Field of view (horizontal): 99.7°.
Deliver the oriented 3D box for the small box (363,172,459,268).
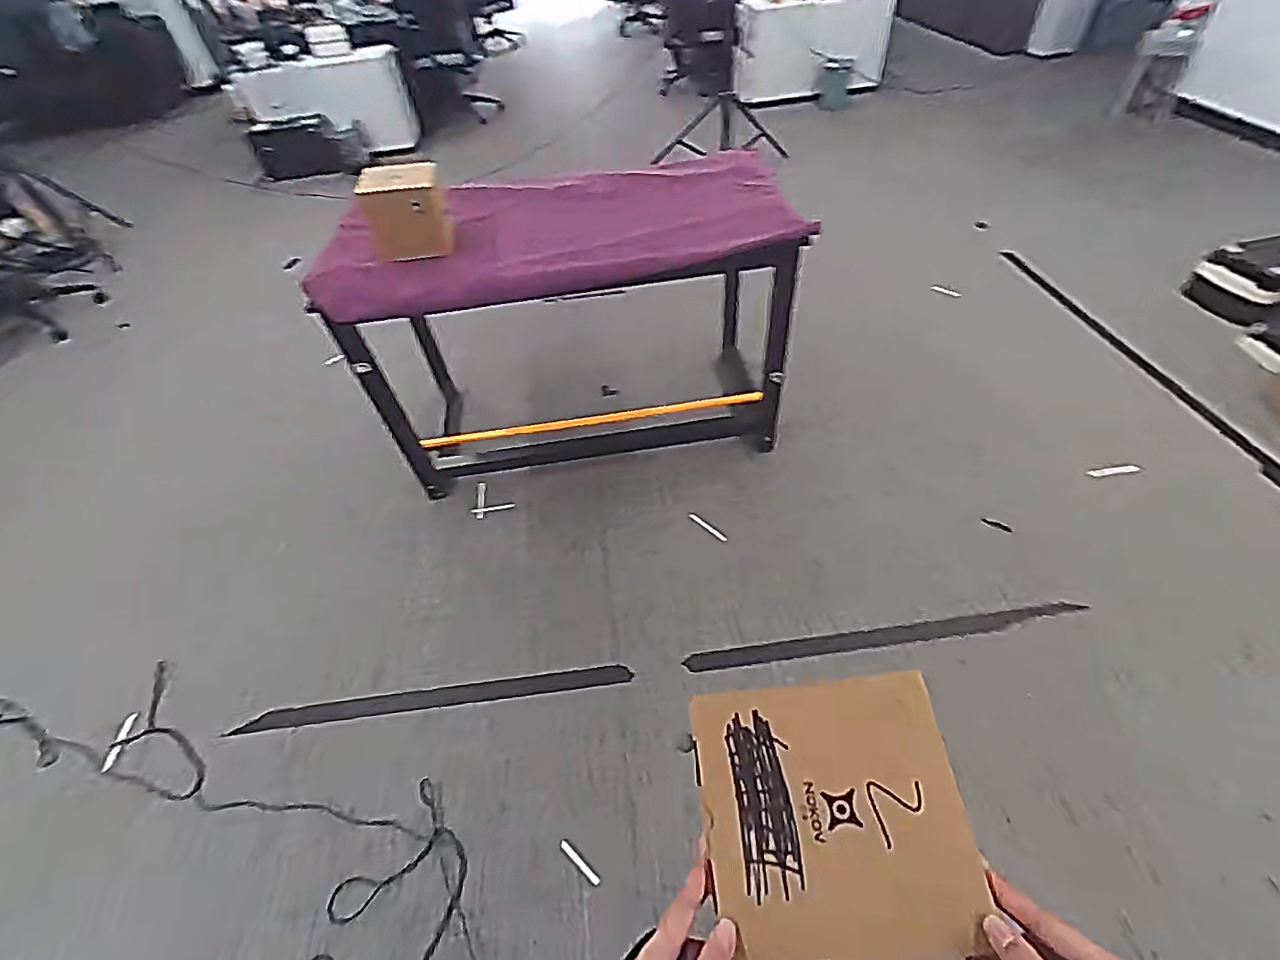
[{"bbox_3d":[-0.572,-0.662,1.380,0.179,0.176,0.168,-9,48,-5],"label":"small box"}]
